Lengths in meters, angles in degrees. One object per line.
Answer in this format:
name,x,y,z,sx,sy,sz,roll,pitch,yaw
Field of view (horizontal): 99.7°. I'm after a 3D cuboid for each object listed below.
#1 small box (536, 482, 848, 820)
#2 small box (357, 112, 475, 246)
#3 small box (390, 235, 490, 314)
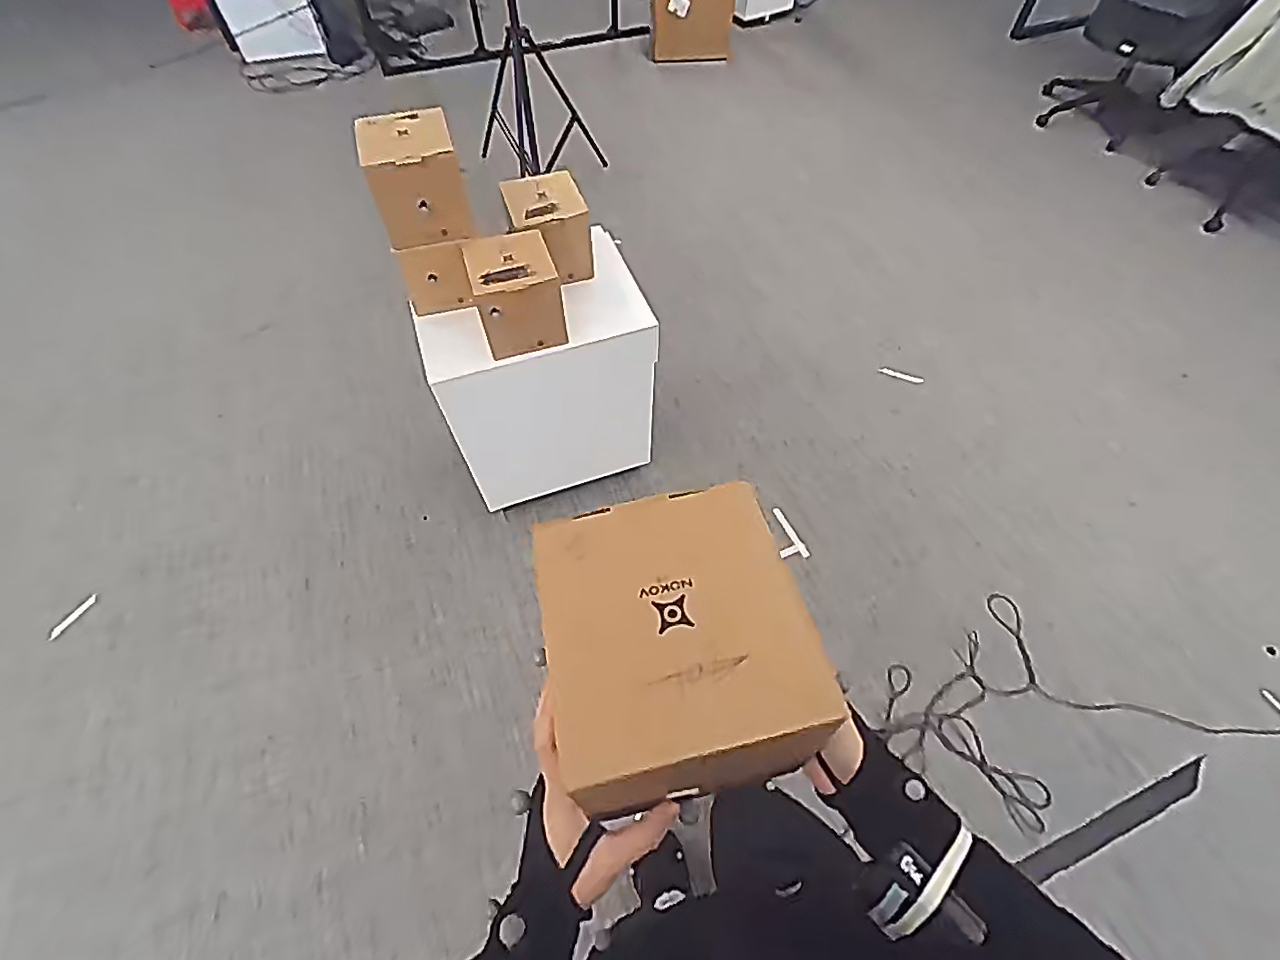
small box,0.024,0.131,0.411,0.168,0.176,0.179,-12,53,-6
small box,-0.435,-0.584,1.067,0.168,0.176,0.179,-15,60,-11
small box,-0.442,-0.490,1.201,0.168,0.176,0.179,-14,60,-10
